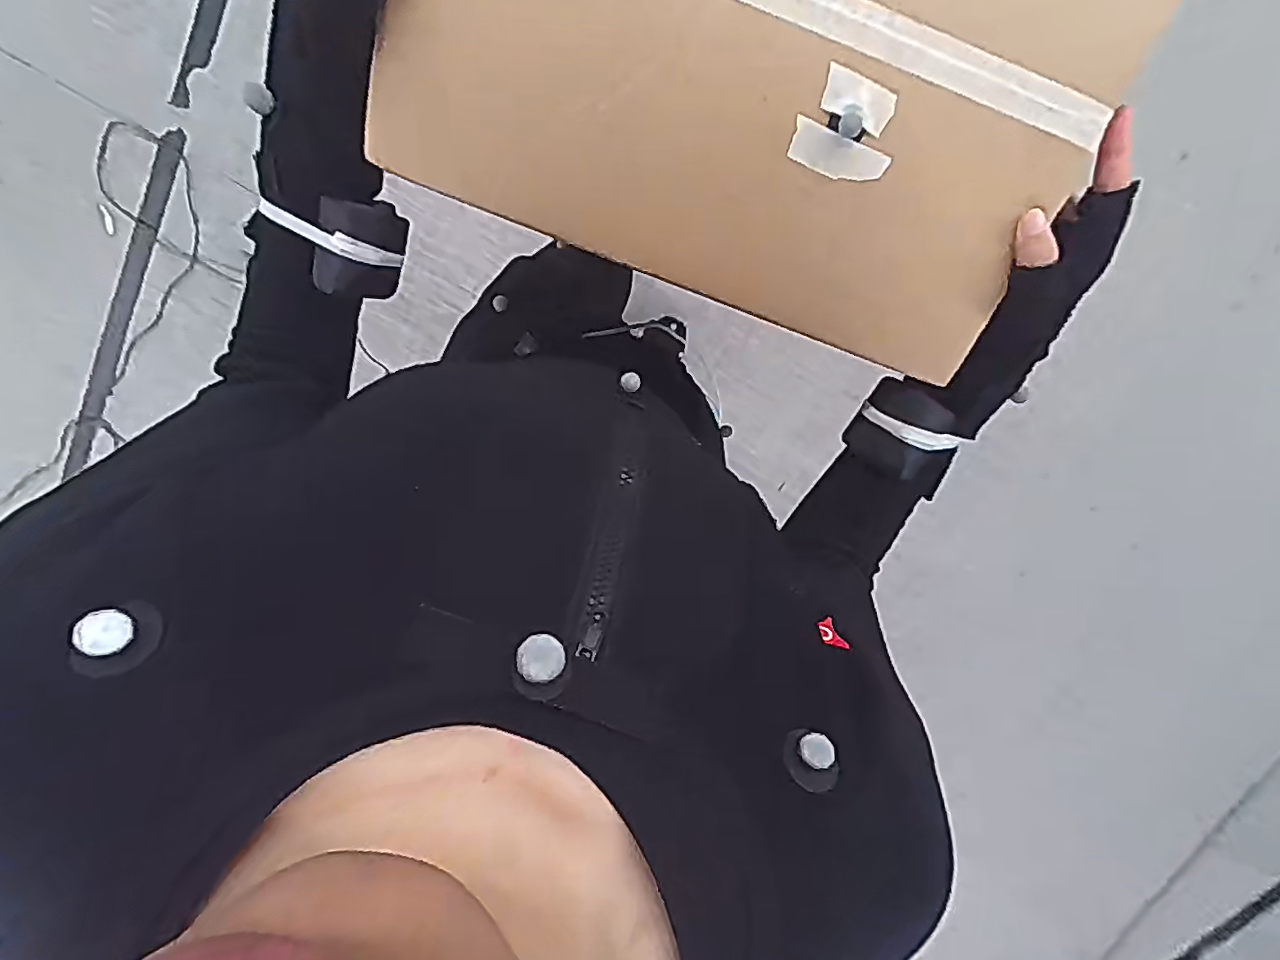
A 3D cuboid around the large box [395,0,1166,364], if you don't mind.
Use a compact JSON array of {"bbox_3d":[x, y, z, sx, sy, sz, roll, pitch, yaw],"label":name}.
[{"bbox_3d":[0.083,-0.334,0.436,0.408,0.320,0.320,19,116,-6],"label":"large box"}]
